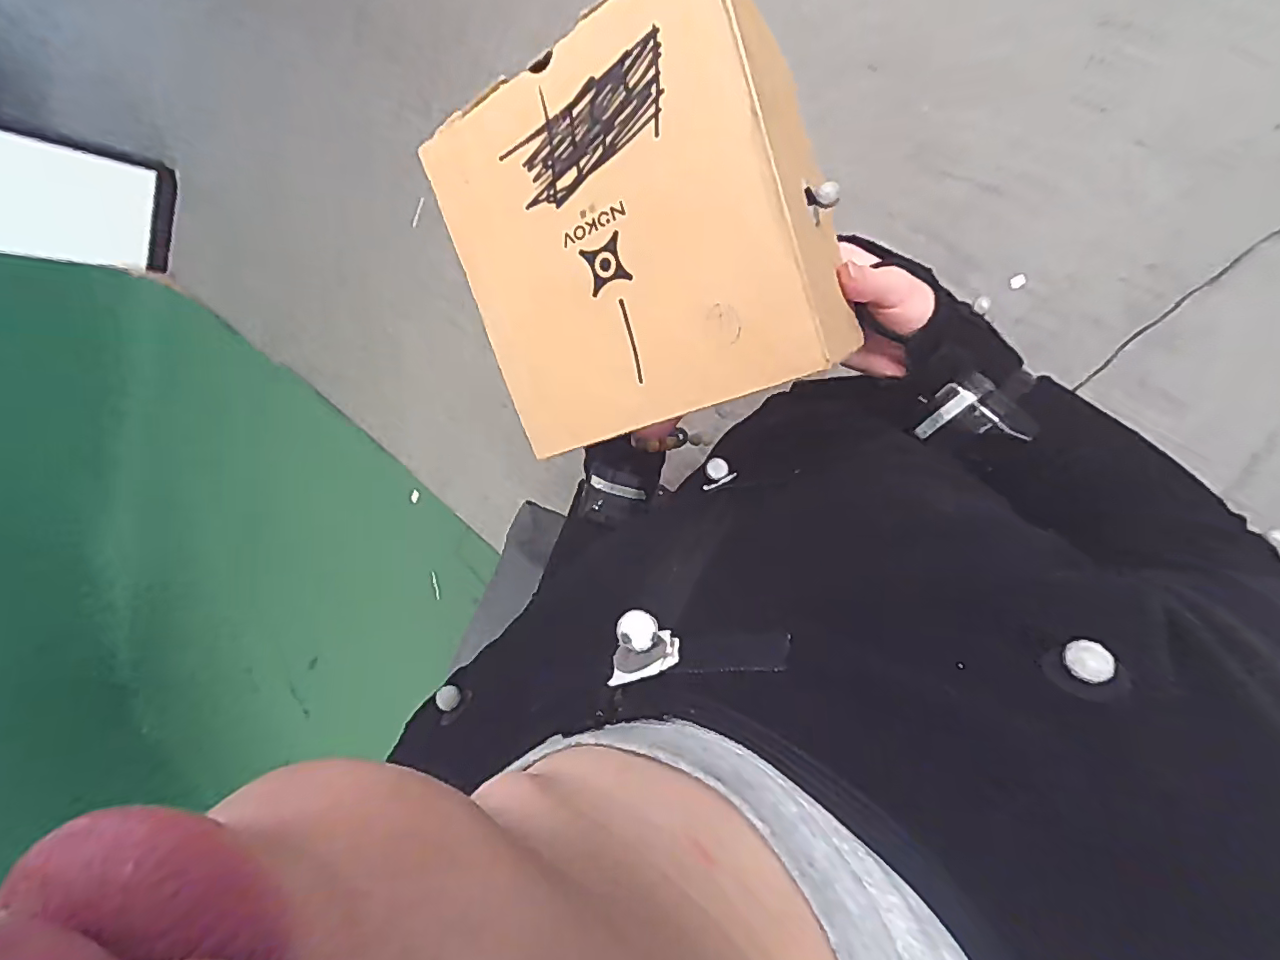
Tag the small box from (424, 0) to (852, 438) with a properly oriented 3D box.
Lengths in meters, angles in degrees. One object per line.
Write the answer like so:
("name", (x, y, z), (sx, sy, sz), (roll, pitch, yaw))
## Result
("small box", (0.016, -0.141, 0.322), (0.168, 0.176, 0.179), (-13, 101, 30))
